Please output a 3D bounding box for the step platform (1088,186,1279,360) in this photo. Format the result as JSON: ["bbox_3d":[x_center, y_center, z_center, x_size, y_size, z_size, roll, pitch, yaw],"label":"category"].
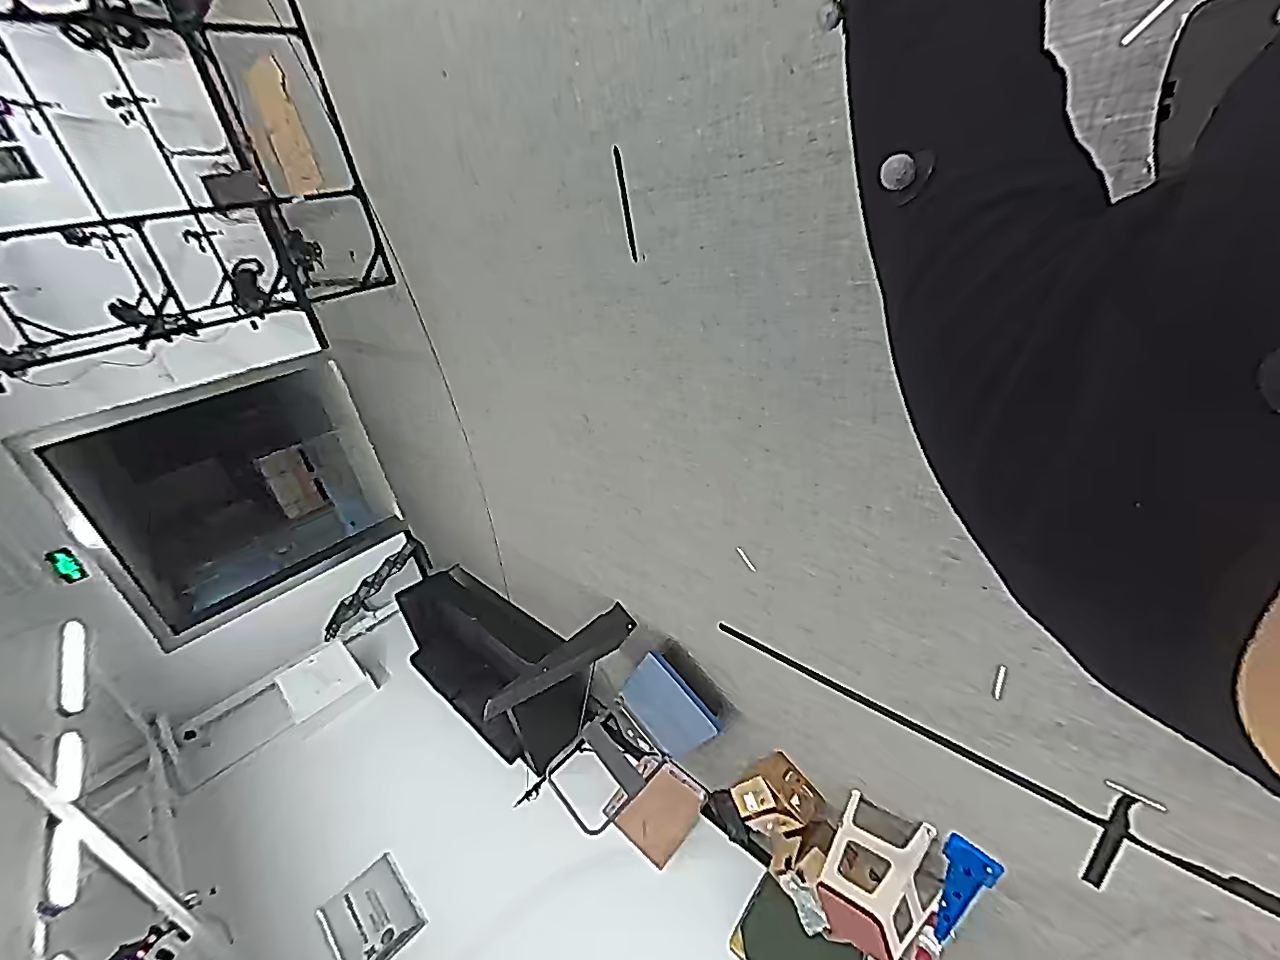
[{"bbox_3d":[1.178,-0.352,0.884,0.684,0.204,0.286,17,128,45],"label":"step platform"}]
